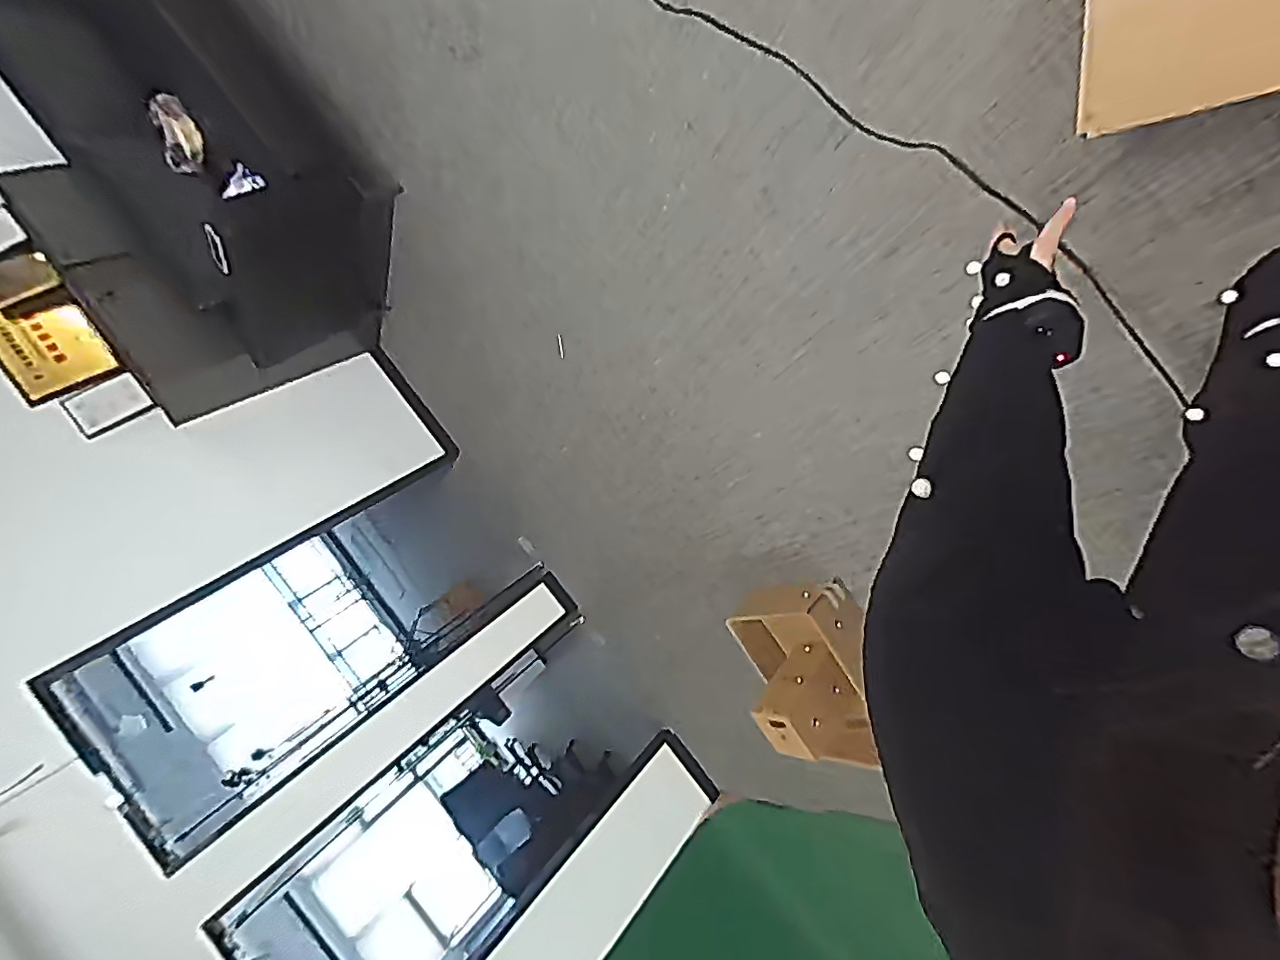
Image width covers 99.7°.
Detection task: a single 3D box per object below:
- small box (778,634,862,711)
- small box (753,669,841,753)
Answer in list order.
[{"bbox_3d":[0.603,0.635,1.797,0.179,0.176,0.168,56,145,-5],"label":"small box"},{"bbox_3d":[0.497,0.719,1.704,0.179,0.176,0.168,55,146,-6],"label":"small box"}]
